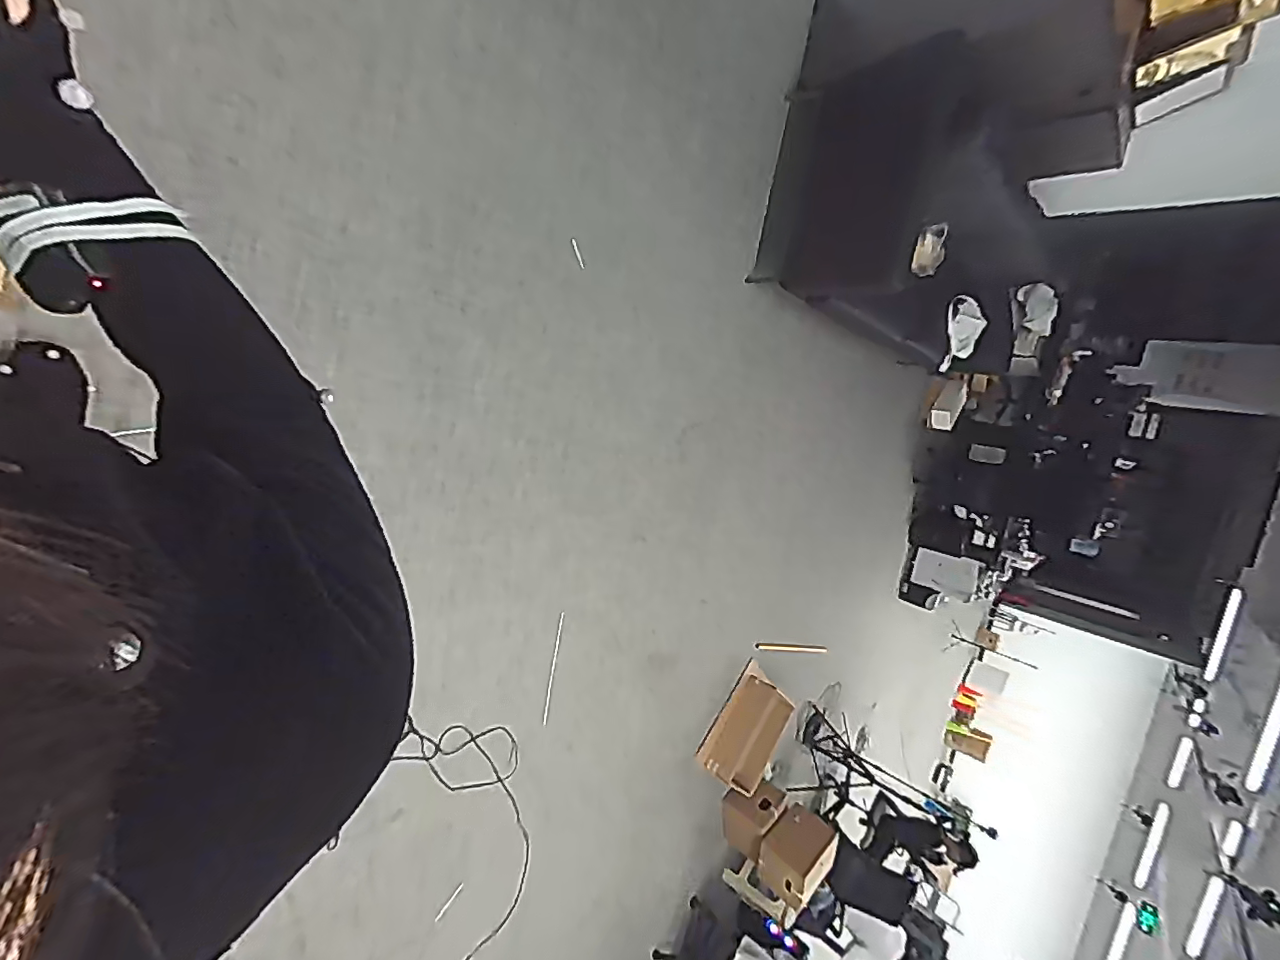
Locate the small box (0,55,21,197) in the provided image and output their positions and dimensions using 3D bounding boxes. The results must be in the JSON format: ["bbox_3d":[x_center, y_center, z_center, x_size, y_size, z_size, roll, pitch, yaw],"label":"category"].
[{"bbox_3d":[-0.749,-0.399,0.534,0.179,0.176,0.168,2,101,-46],"label":"small box"}]

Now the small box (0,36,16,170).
[{"bbox_3d":[-0.632,-0.363,0.425,0.179,0.176,0.168,4,100,-46],"label":"small box"}]
